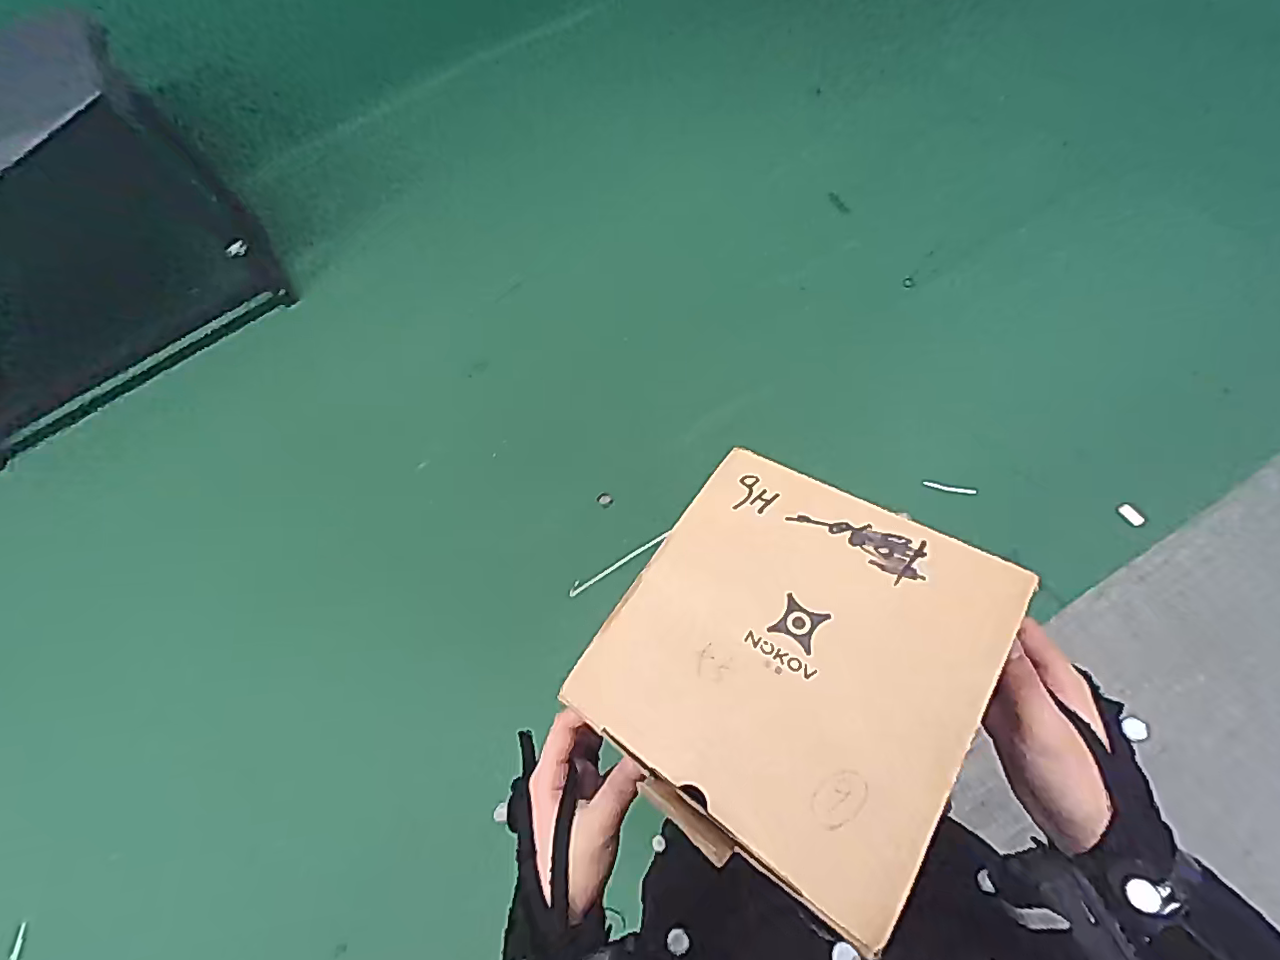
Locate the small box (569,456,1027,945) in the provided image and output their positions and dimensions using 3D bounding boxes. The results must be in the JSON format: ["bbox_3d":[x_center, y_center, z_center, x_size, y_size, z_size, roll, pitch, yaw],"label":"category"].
[{"bbox_3d":[0.092,0.123,0.334,0.168,0.176,0.179,28,69,28],"label":"small box"}]
